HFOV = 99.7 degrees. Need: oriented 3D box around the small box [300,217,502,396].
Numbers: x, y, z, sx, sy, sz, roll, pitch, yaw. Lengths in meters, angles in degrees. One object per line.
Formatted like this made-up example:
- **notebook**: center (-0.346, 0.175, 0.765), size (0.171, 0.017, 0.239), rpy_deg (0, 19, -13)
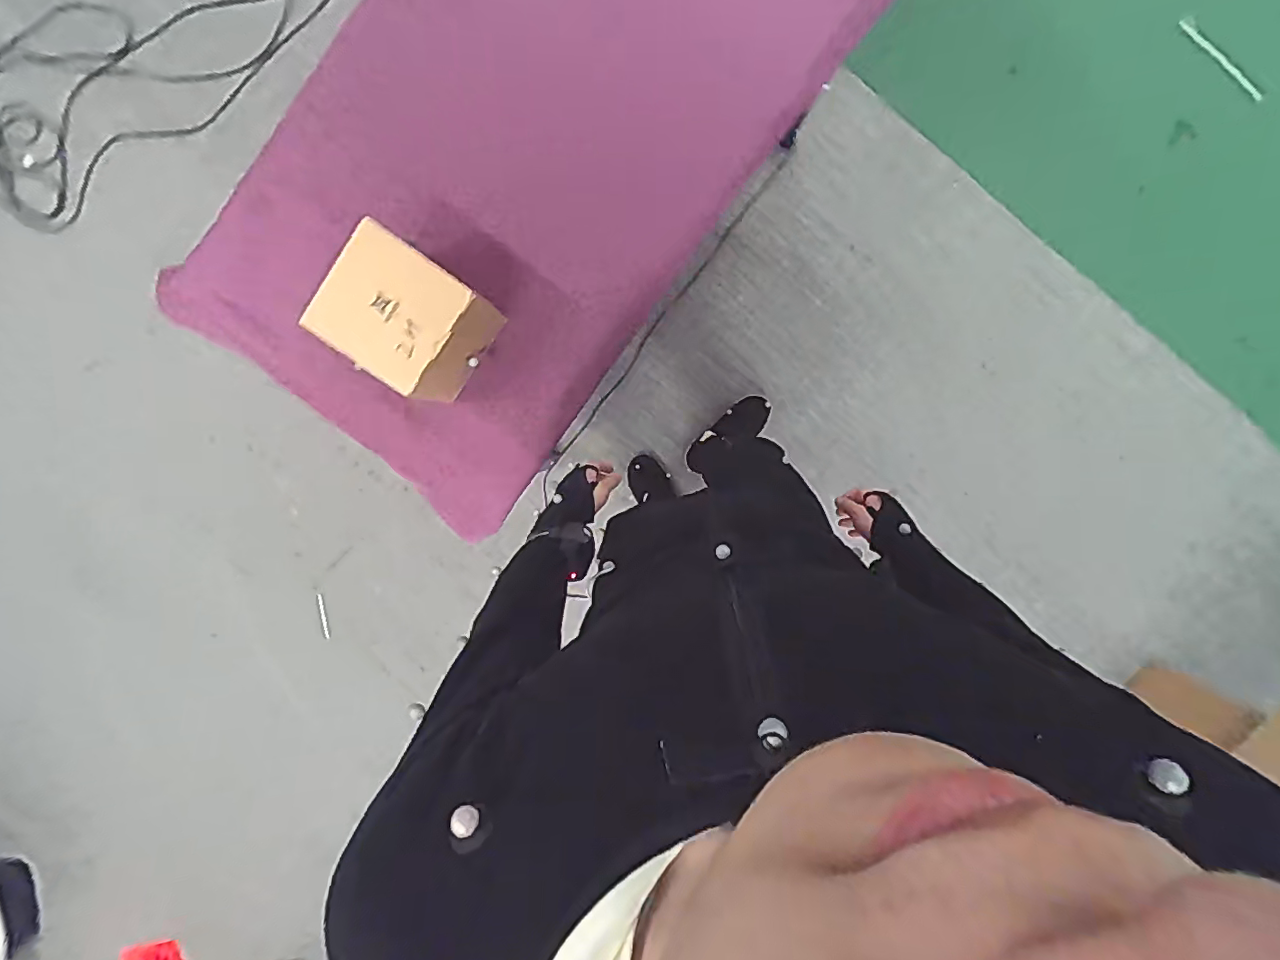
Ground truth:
- **small box**: center (-0.333, -0.234, 0.788), size (0.179, 0.176, 0.168), rpy_deg (35, 95, -2)
